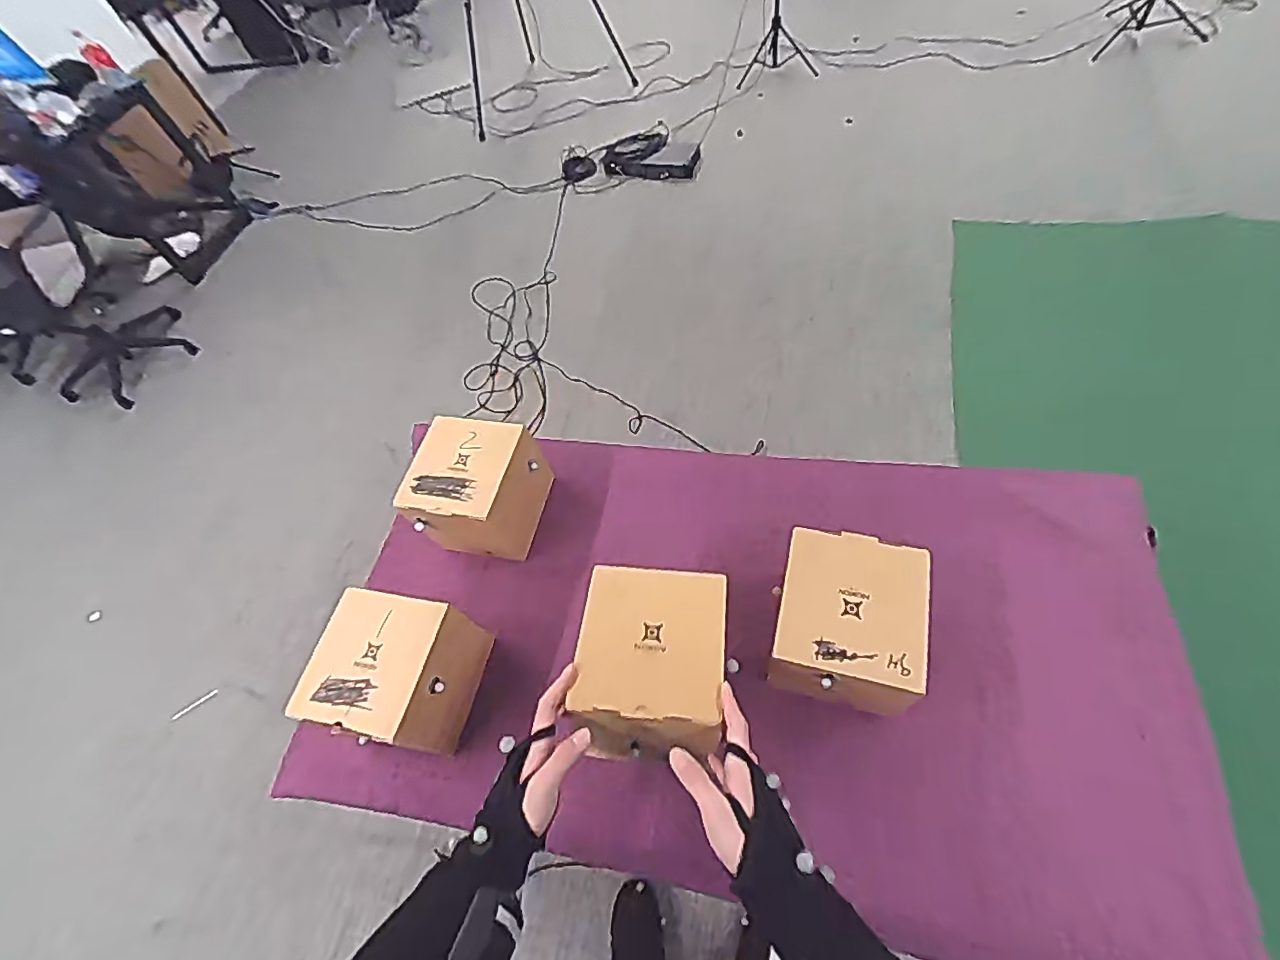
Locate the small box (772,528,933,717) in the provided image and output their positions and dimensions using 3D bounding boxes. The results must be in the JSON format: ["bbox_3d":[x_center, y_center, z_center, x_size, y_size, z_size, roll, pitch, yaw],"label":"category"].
[{"bbox_3d":[0.270,0.189,0.710,0.168,0.176,0.179,9,60,16],"label":"small box"}]

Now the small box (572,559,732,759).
[{"bbox_3d":[0.023,0.222,0.669,0.168,0.176,0.179,3,50,7],"label":"small box"}]

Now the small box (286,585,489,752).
[{"bbox_3d":[-0.339,0.272,0.769,0.168,0.176,0.179,6,59,14],"label":"small box"}]
